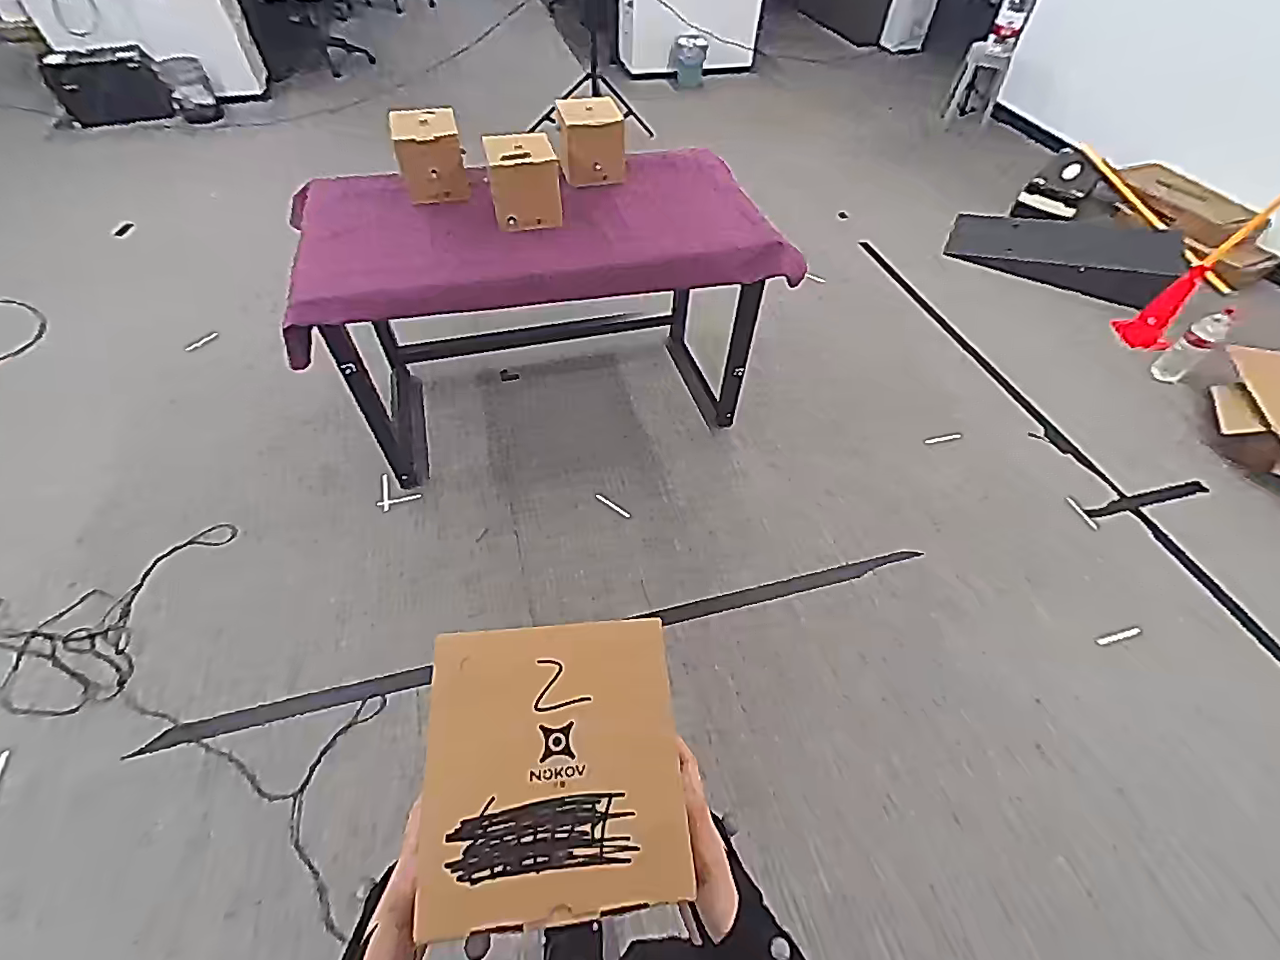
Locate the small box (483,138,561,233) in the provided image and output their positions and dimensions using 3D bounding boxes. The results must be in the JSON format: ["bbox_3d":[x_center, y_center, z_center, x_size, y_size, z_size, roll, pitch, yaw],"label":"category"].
[{"bbox_3d":[-0.308,-0.770,1.424,0.168,0.176,0.179,-12,53,-11],"label":"small box"}]

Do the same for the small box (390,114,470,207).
[{"bbox_3d":[-0.575,-0.874,1.490,0.168,0.176,0.179,-12,56,-12],"label":"small box"}]

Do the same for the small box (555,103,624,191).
[{"bbox_3d":[-0.149,-0.976,1.586,0.168,0.176,0.179,-13,55,-11],"label":"small box"}]
